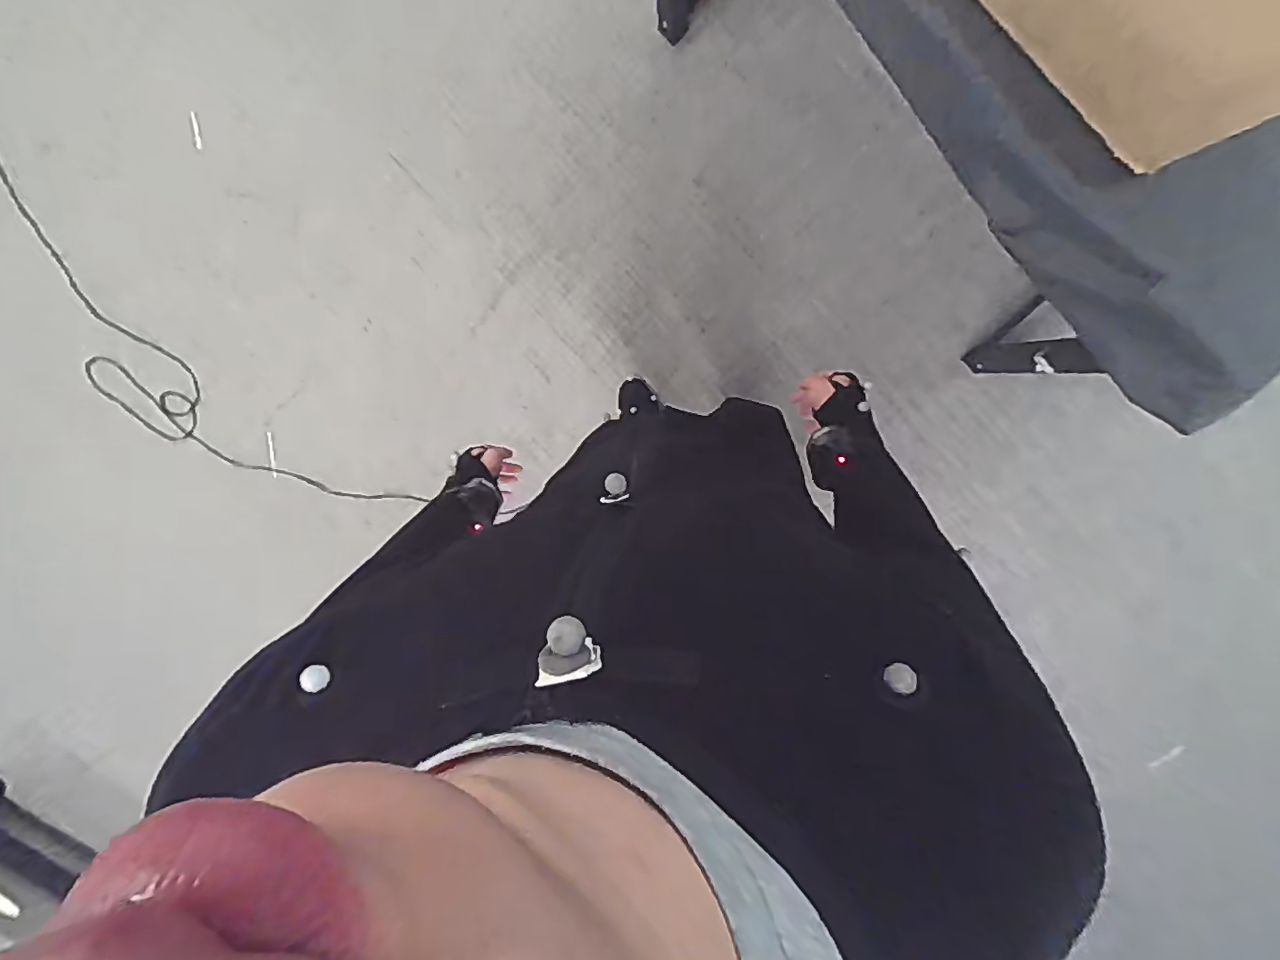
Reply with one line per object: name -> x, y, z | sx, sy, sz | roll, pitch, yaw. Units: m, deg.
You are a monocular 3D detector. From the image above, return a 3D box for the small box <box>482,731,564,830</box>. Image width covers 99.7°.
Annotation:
small box -> -0.361, 0.945, 1.712 | 0.168, 0.176, 0.179 | 45, 100, -8
